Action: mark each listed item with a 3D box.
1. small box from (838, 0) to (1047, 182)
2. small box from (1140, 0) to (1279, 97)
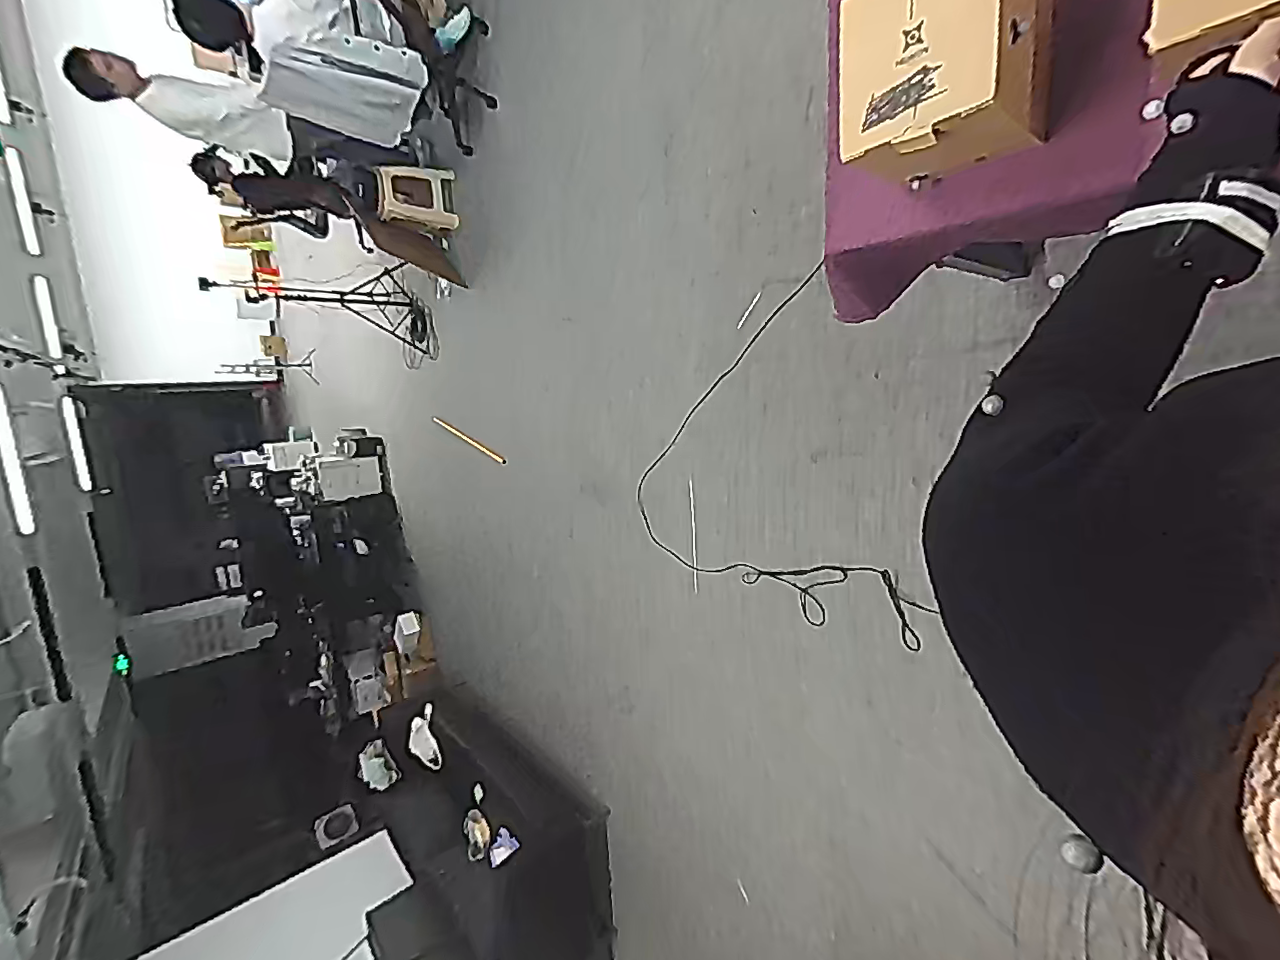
[{"bbox_3d":[0.351,-0.471,0.632,0.168,0.176,0.179,7,102,49],"label":"small box"},{"bbox_3d":[0.529,-0.438,0.425,0.168,0.176,0.179,10,105,49],"label":"small box"}]
